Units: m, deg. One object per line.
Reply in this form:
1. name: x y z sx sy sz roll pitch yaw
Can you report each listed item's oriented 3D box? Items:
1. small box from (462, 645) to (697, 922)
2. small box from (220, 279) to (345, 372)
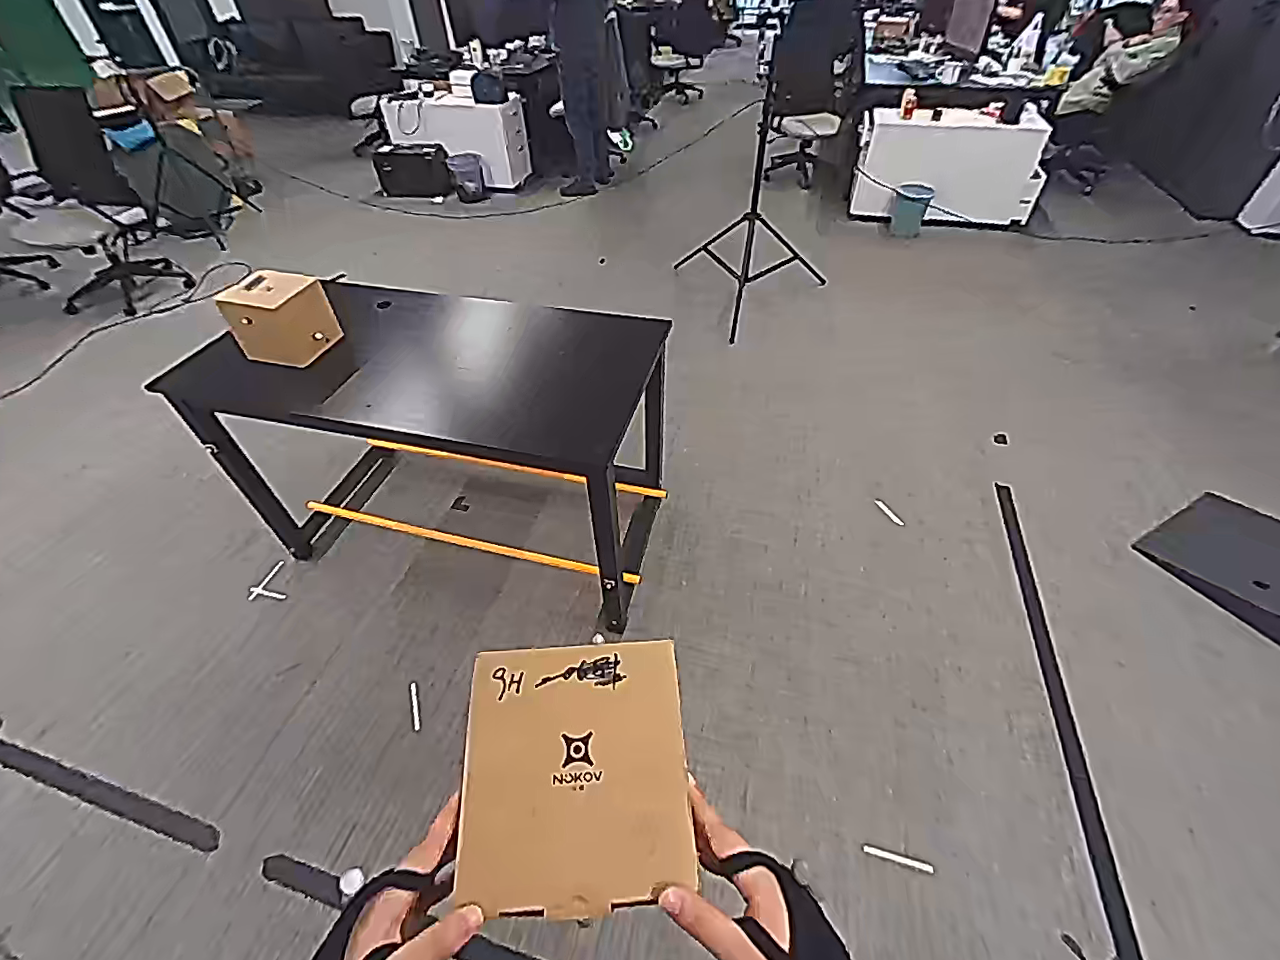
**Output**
1. small box: -0.046 0.259 0.477 0.168 0.176 0.179 -4 58 -3
2. small box: -0.917 -0.400 1.406 0.179 0.176 0.168 10 47 10
